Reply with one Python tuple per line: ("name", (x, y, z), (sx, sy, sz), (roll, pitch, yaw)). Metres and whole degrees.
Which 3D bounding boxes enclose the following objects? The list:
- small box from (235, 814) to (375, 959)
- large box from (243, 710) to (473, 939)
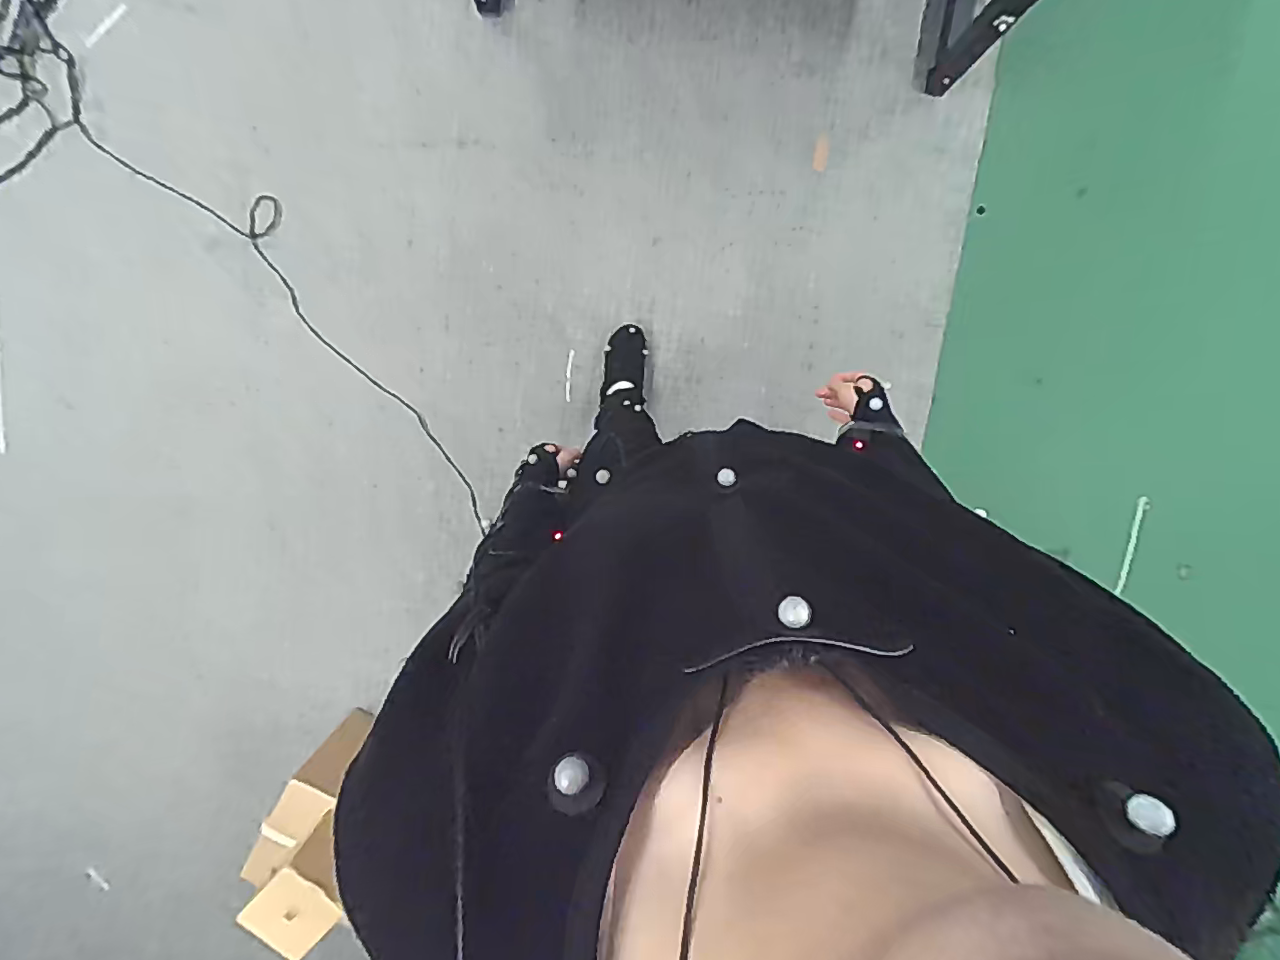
("small box", (-0.748, 0.920, 1.230), (0.168, 0.176, 0.179), (43, 94, -5))
("large box", (-0.739, 0.915, 1.477), (0.408, 0.320, 0.320), (30, 98, -5))
